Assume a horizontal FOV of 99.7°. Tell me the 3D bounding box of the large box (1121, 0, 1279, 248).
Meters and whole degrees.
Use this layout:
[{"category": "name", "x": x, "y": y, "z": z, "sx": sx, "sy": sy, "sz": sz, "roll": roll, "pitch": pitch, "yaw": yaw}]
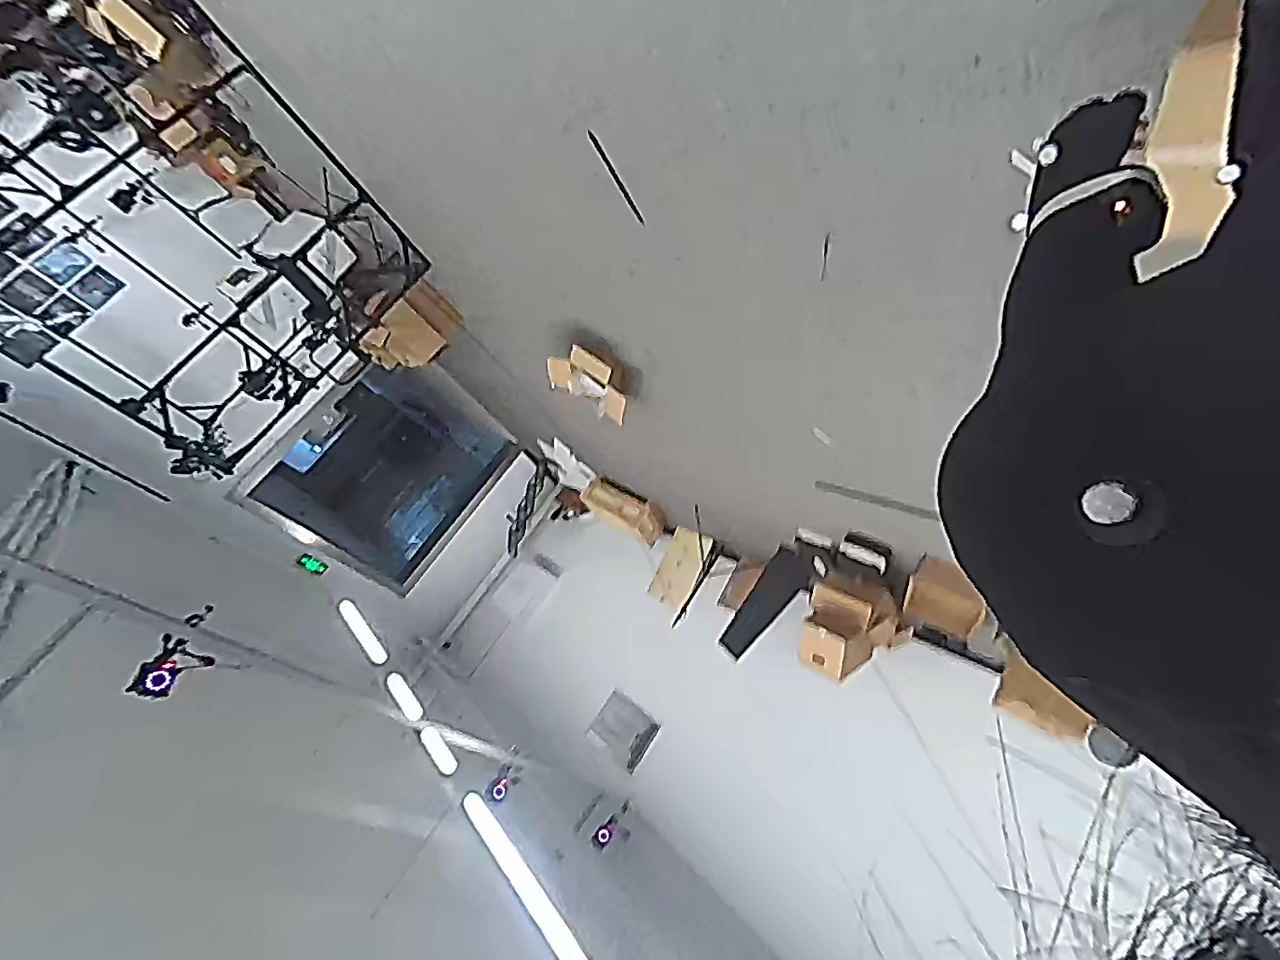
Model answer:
[{"category": "large box", "x": 1.070, "y": -0.585, "z": 0.830, "sx": 0.408, "sy": 0.320, "sz": 0.320, "roll": 23, "pitch": 160, "yaw": 39}]
